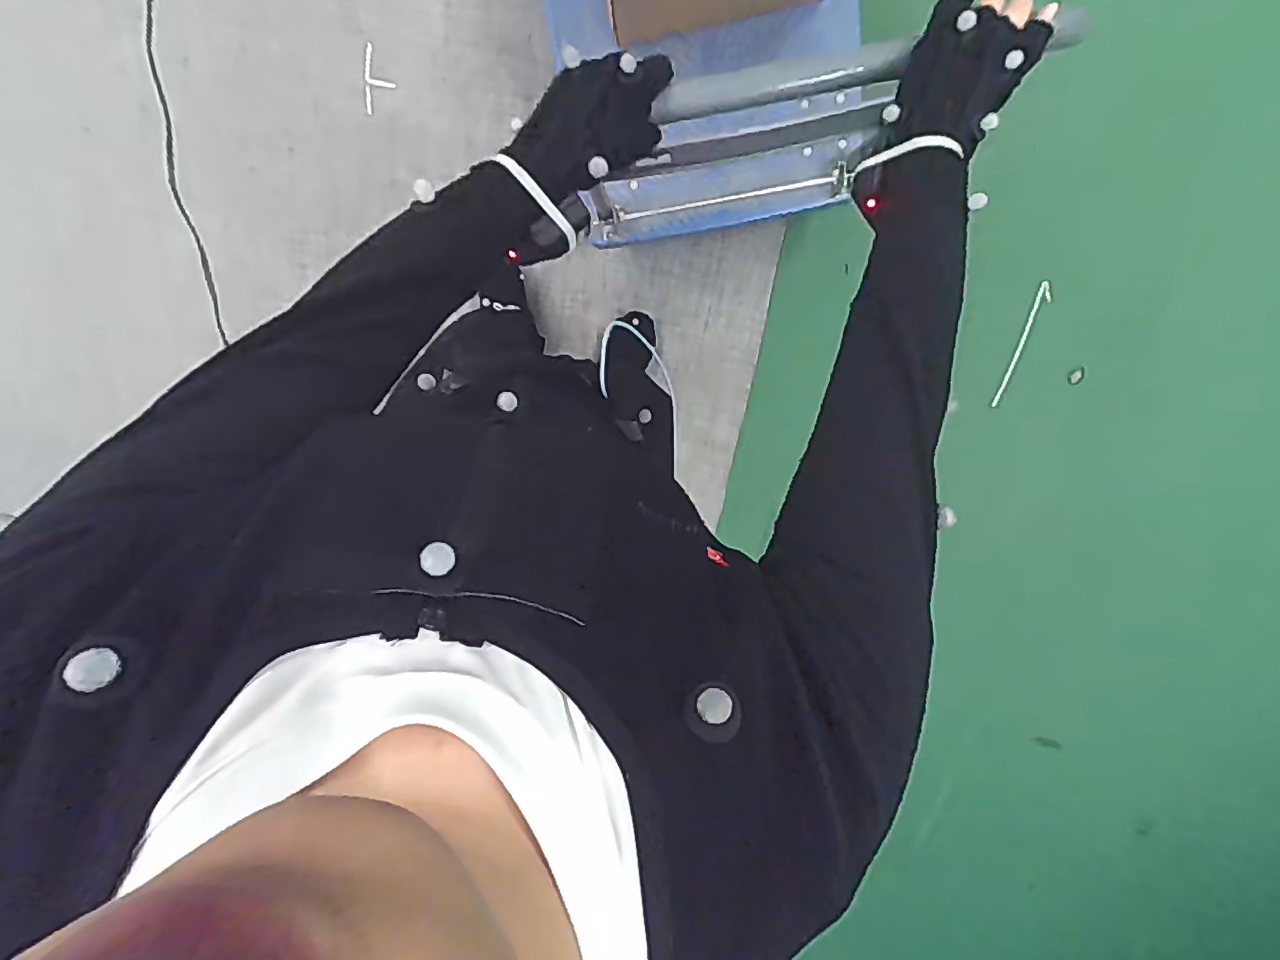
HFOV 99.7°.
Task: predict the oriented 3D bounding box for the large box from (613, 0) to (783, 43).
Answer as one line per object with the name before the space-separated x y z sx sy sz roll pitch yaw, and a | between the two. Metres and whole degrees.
large box | 0.127 -0.956 0.827 0.408 0.320 0.320 -11 109 5
